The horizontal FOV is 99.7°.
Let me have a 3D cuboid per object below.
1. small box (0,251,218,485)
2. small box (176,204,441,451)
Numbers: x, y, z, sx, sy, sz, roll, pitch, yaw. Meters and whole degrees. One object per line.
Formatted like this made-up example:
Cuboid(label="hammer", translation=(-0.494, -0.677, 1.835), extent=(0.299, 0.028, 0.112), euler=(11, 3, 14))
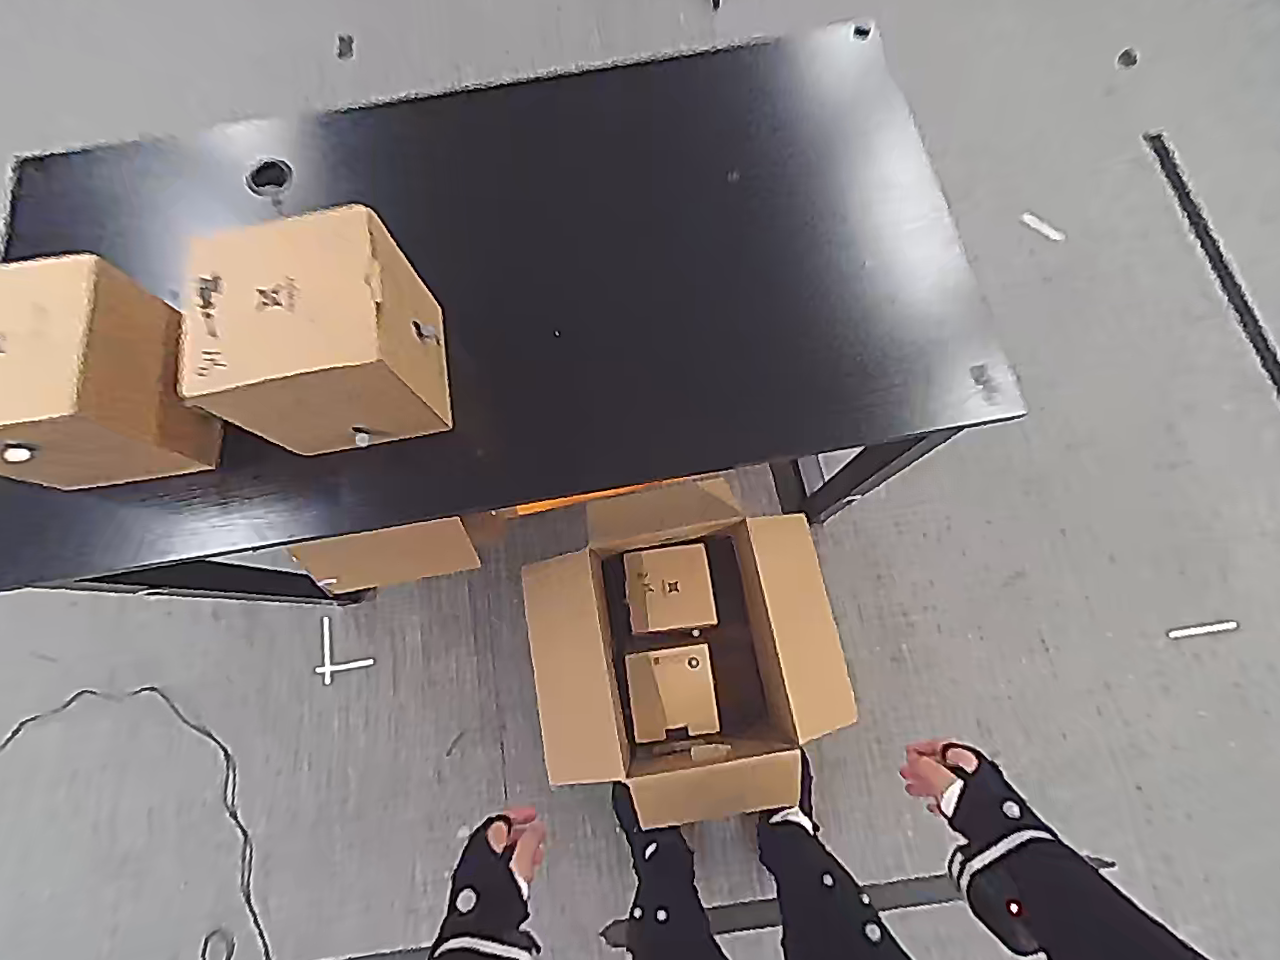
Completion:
Cuboid(label="small box", translation=(-0.576, -0.099, 0.549), extent=(0.179, 0.176, 0.168), euler=(-8, 75, -1))
Cuboid(label="small box", translation=(-0.316, -0.142, 0.552), extent=(0.179, 0.176, 0.168), euler=(-11, 75, -2))
